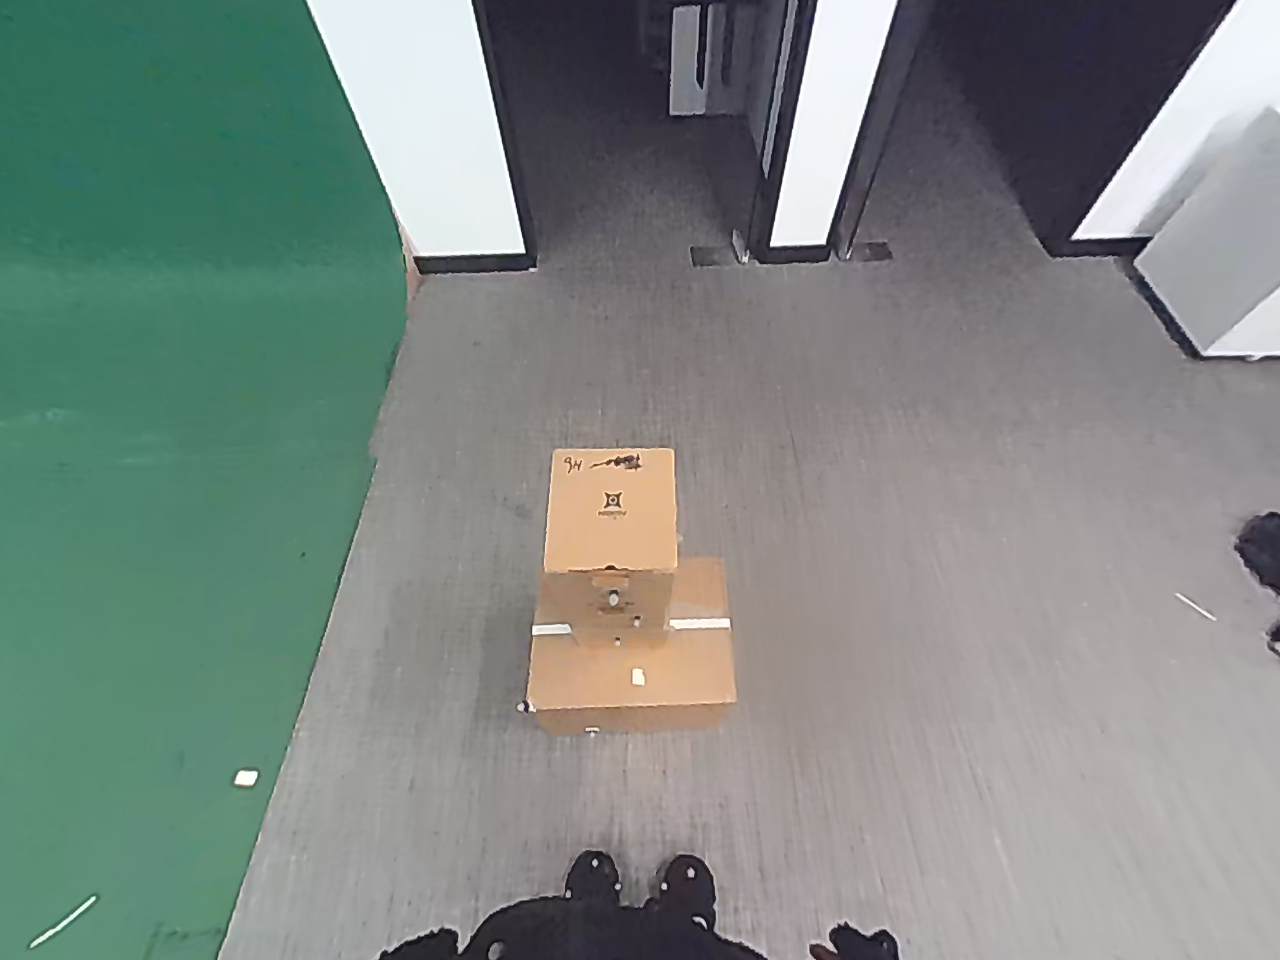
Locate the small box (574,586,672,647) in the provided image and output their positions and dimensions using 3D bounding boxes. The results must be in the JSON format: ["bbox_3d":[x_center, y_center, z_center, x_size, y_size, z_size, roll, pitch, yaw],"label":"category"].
[{"bbox_3d":[-0.034,0.229,1.059,0.179,0.176,0.168,-2,63,-1],"label":"small box"}]

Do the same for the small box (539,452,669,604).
[{"bbox_3d":[-0.042,0.076,0.771,0.168,0.176,0.179,0,63,0],"label":"small box"}]

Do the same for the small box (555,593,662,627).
[{"bbox_3d":[-0.045,0.148,0.918,0.168,0.176,0.179,0,62,0],"label":"small box"}]
